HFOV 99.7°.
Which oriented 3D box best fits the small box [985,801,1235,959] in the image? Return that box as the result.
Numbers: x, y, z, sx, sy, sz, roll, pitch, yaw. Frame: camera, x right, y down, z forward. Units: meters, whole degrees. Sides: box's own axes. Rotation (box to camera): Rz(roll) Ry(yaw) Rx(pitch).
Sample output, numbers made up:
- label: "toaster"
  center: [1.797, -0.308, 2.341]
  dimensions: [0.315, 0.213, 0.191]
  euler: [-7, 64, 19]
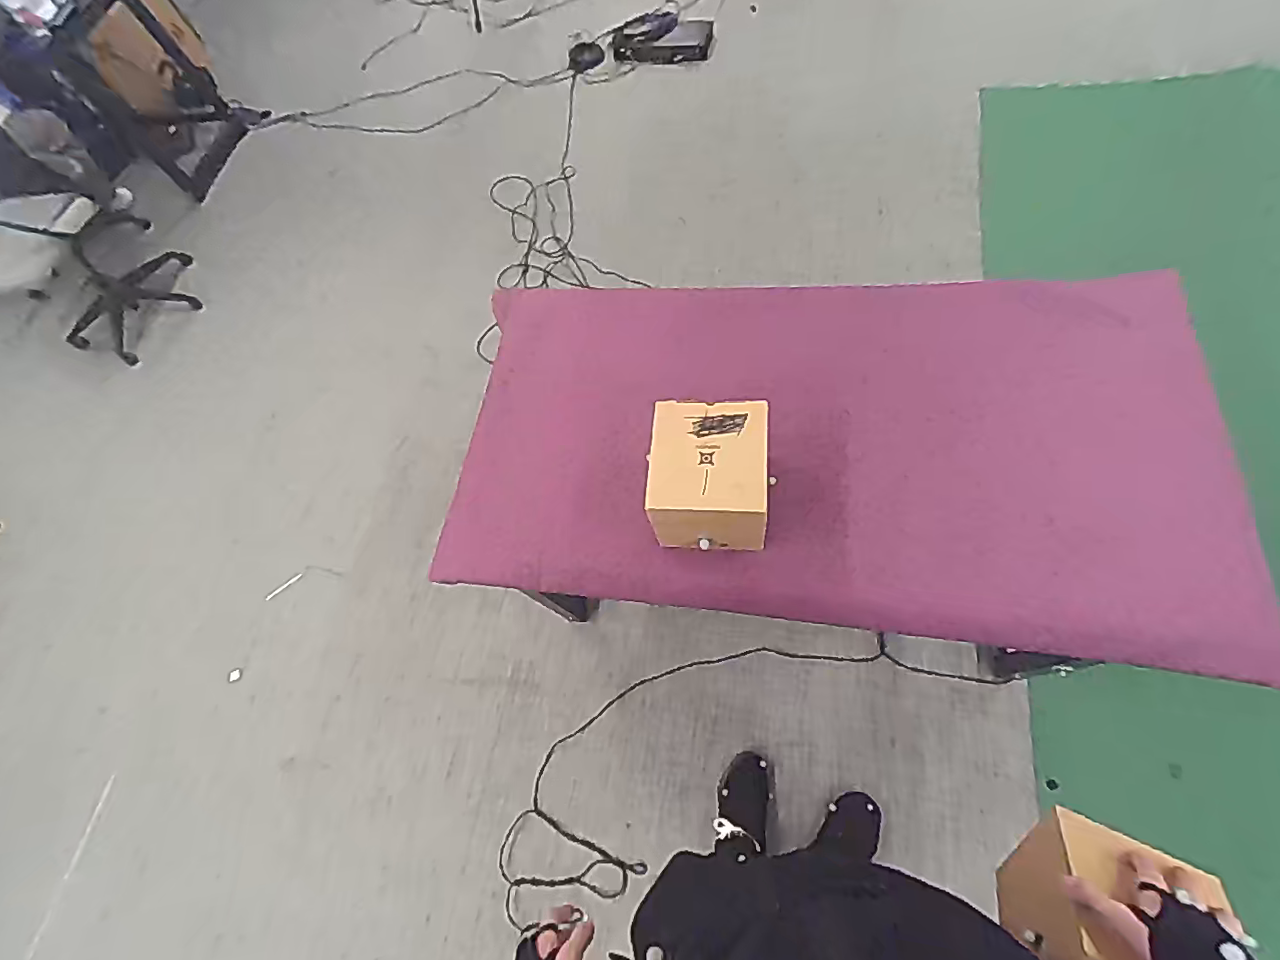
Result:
- label: "small box"
  center: [0.525, 0.531, 0.622]
  dimensions: [0.168, 0.176, 0.179]
  euler: [21, 31, 19]

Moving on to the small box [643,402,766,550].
- label: "small box"
  center: [0.105, -0.003, 0.835]
  dimensions: [0.168, 0.176, 0.179]
  euler: [1, 66, 11]
